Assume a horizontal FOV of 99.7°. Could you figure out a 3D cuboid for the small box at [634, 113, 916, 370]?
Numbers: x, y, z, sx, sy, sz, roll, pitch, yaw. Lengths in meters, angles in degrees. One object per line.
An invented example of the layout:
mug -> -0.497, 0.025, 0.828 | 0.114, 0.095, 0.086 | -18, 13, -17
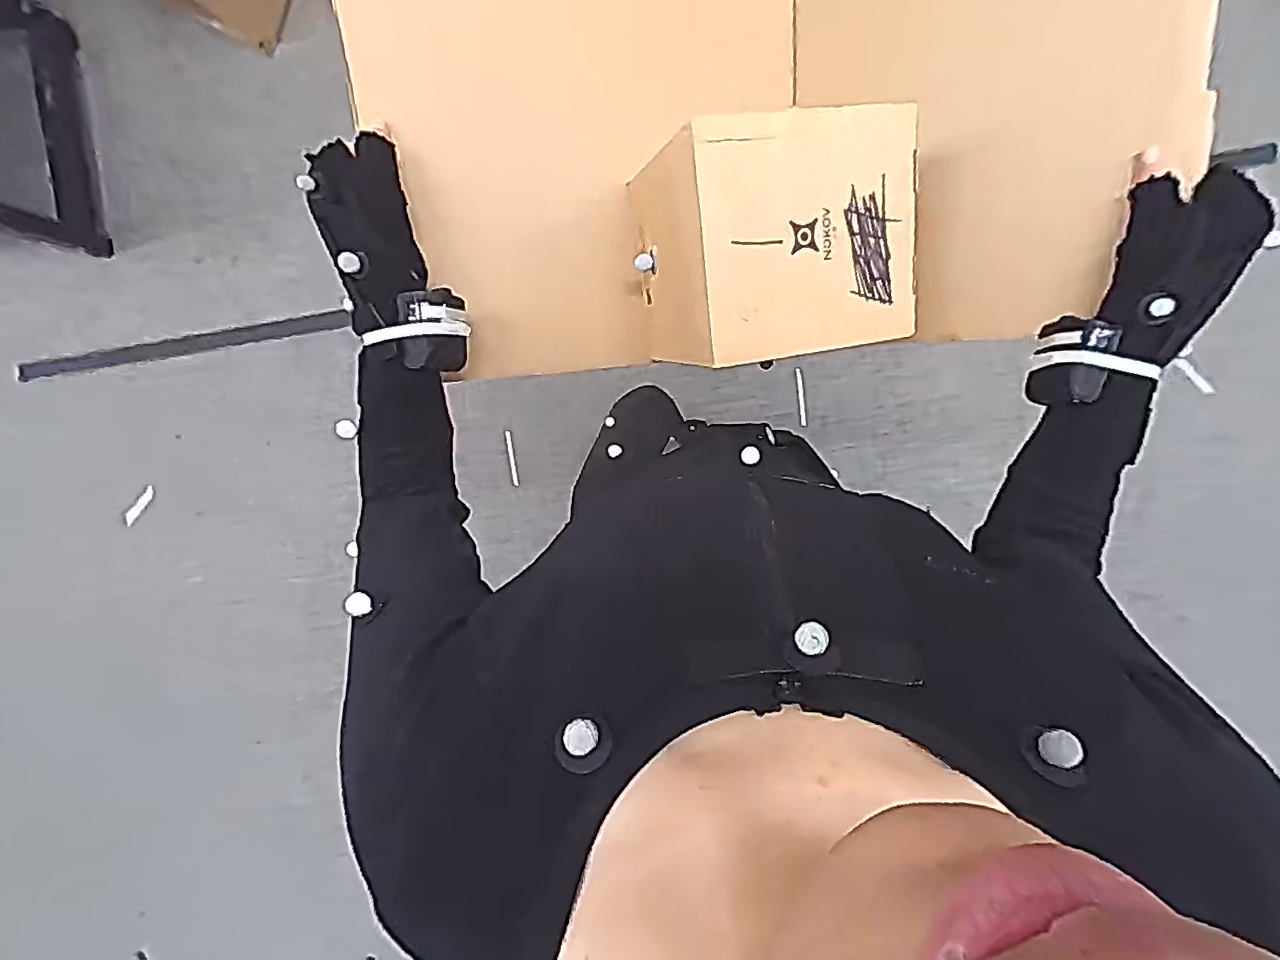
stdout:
small box -> 0.106, -0.195, 0.470 | 0.179, 0.176, 0.168 | -11, 107, -12
